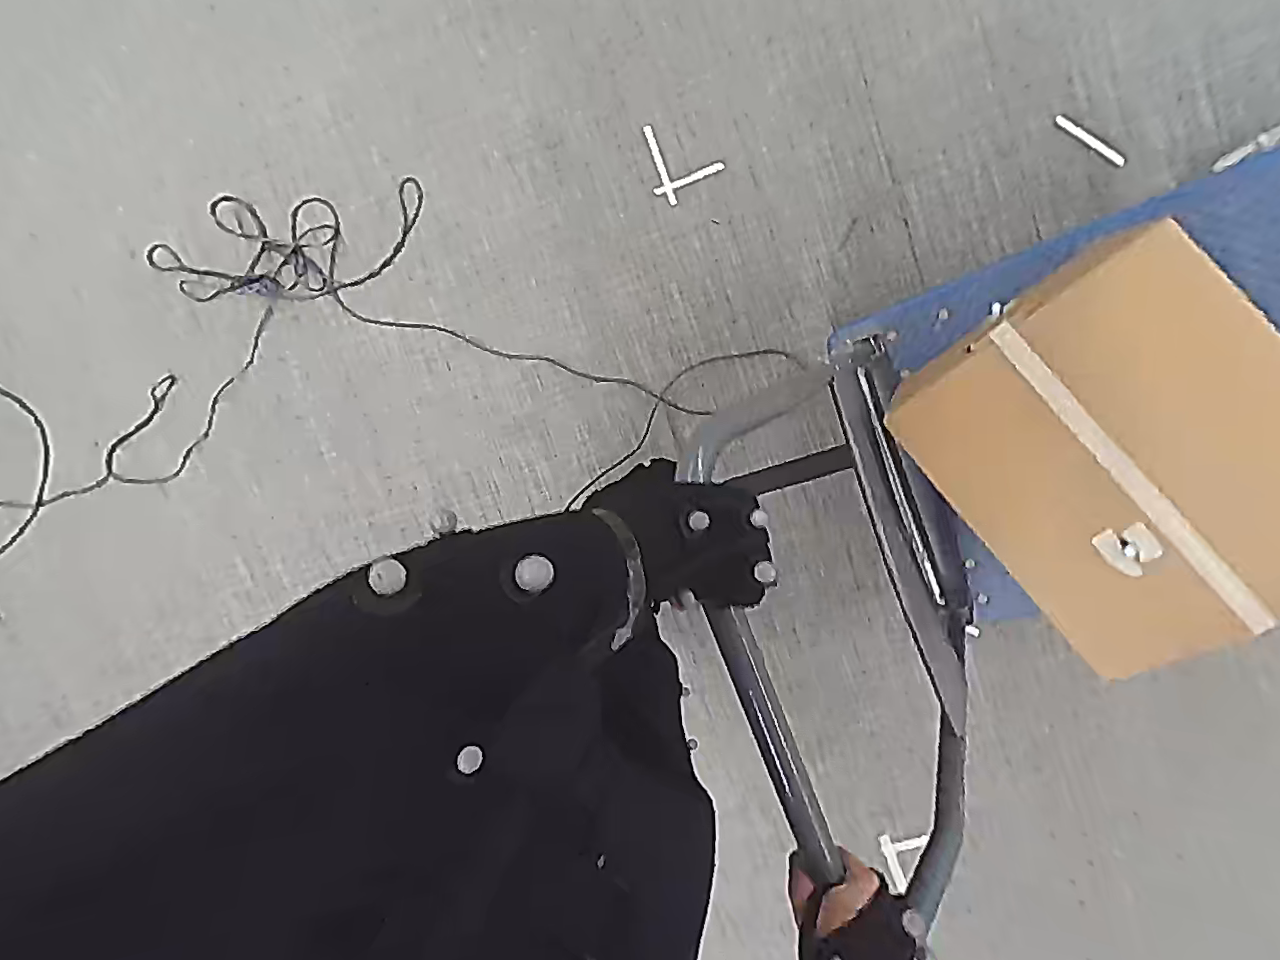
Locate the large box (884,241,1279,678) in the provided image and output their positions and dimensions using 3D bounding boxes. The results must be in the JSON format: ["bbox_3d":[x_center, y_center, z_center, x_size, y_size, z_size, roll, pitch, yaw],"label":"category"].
[{"bbox_3d":[0.587,-0.040,0.712,0.320,0.320,0.408,-41,85,32],"label":"large box"}]
